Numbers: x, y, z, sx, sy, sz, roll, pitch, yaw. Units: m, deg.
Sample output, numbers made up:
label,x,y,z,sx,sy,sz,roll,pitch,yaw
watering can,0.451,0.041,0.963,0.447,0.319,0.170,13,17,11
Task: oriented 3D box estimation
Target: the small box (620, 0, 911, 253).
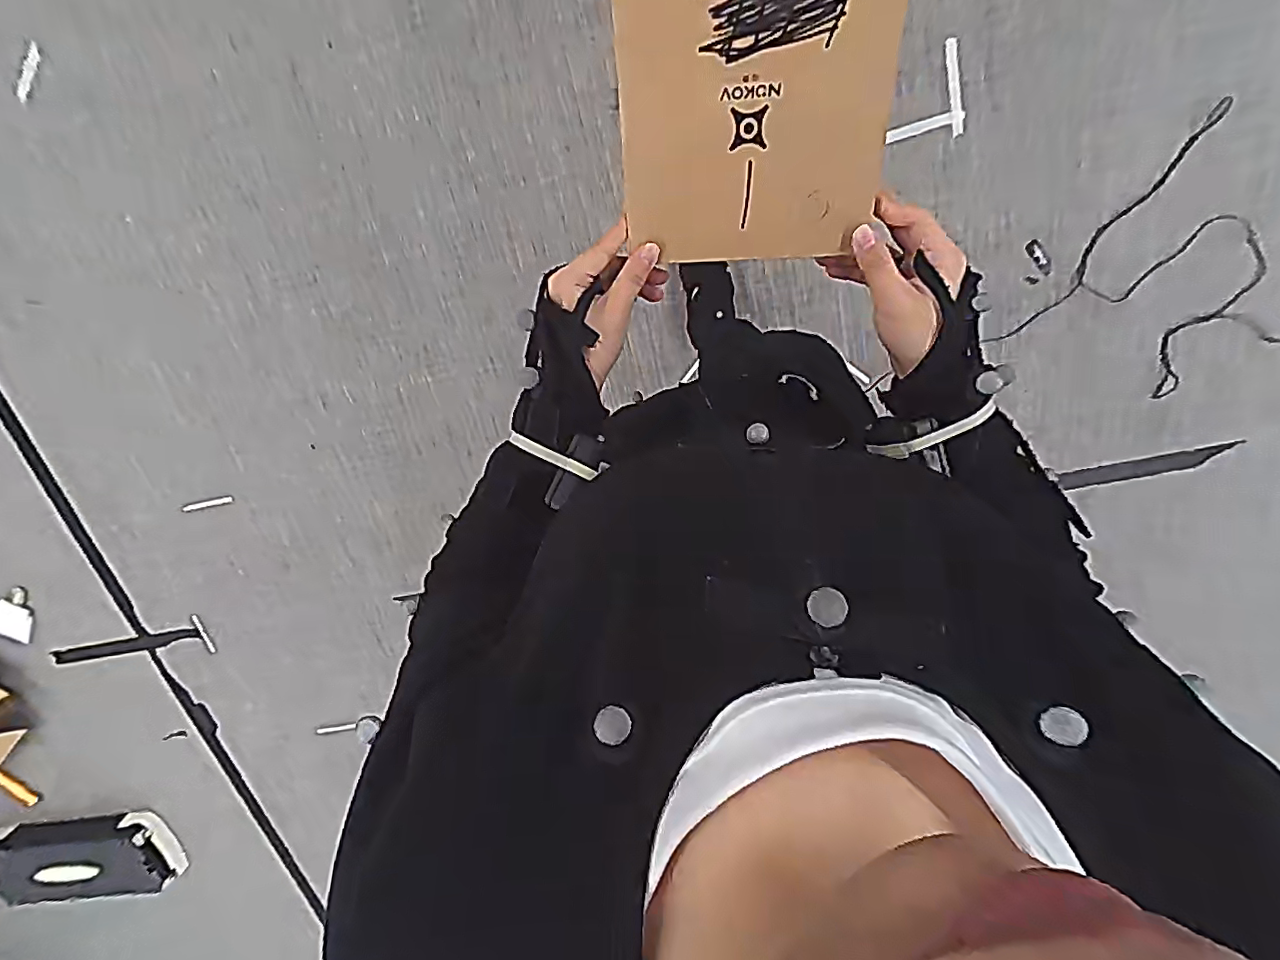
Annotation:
label,x,y,z,sx,sy,sz,roll,pitch,yaw
small box,0.078,-0.277,0.395,0.168,0.176,0.179,0,124,7
